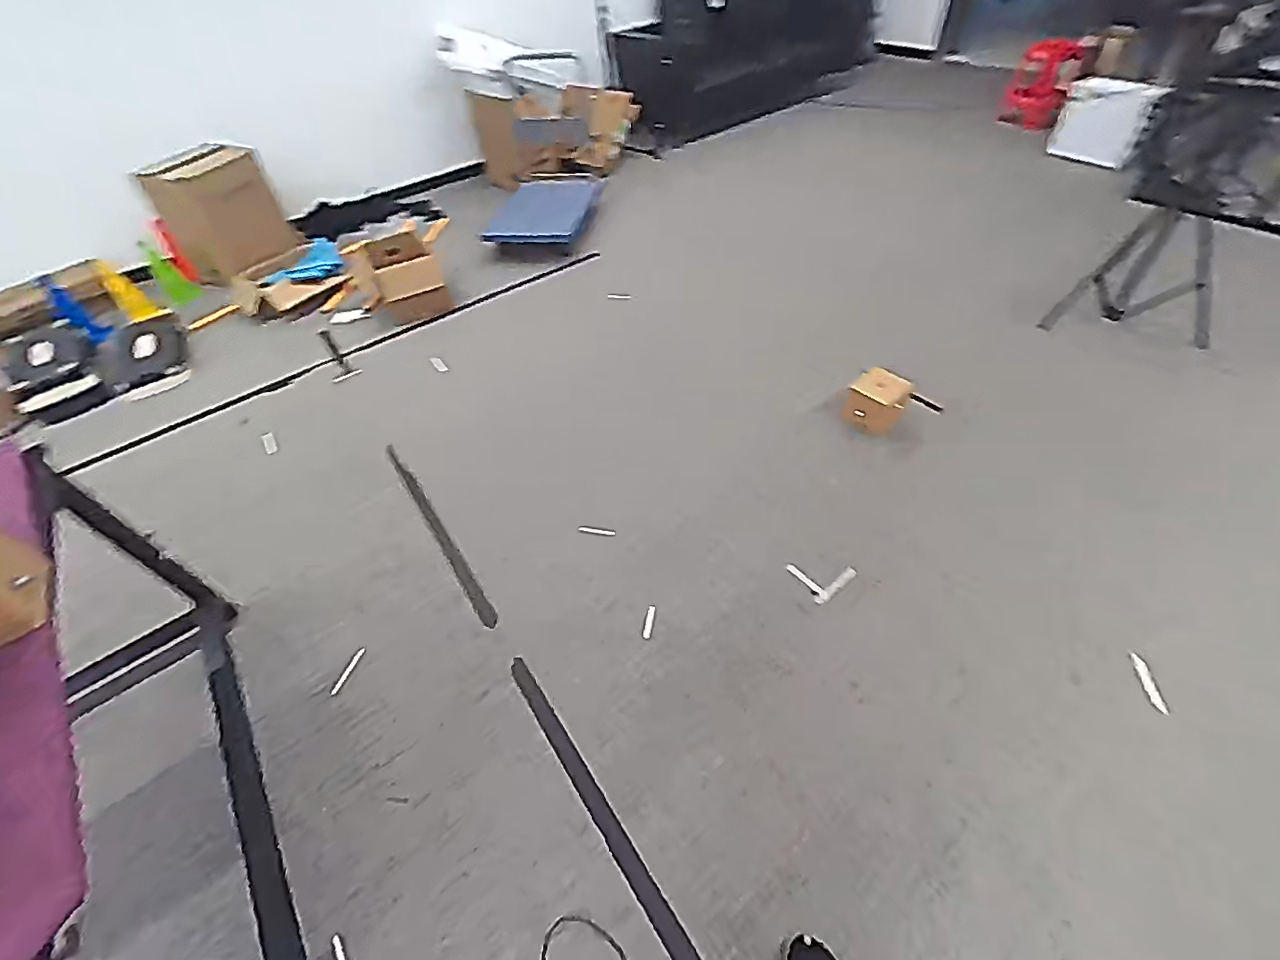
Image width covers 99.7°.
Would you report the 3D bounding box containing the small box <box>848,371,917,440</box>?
[{"bbox_3d":[0.925,-0.284,2.084,0.179,0.176,0.168,-32,52,-22],"label":"small box"}]
